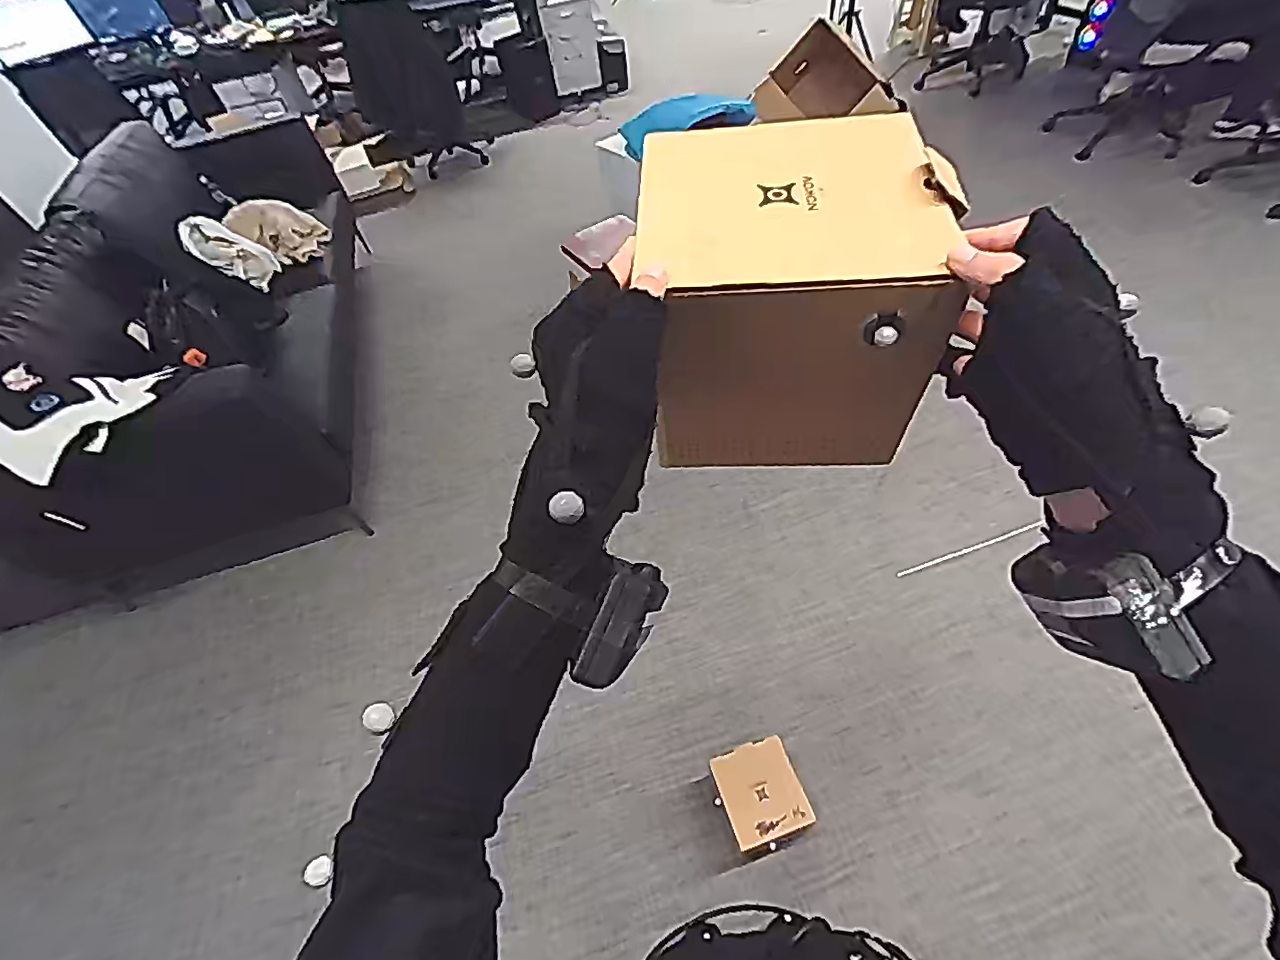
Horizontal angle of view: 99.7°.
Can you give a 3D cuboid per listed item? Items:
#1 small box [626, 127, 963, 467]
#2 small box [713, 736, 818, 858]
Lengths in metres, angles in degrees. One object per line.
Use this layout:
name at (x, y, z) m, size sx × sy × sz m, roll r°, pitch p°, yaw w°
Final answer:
small box at (0.092, -0.120, 0.391) m, size 0.179 × 0.176 × 0.168 m, roll -1°, pitch 57°, yaw 7°
small box at (0.265, 0.696, 1.183) m, size 0.168 × 0.176 × 0.179 m, roll -18°, pitch 50°, yaw -5°
